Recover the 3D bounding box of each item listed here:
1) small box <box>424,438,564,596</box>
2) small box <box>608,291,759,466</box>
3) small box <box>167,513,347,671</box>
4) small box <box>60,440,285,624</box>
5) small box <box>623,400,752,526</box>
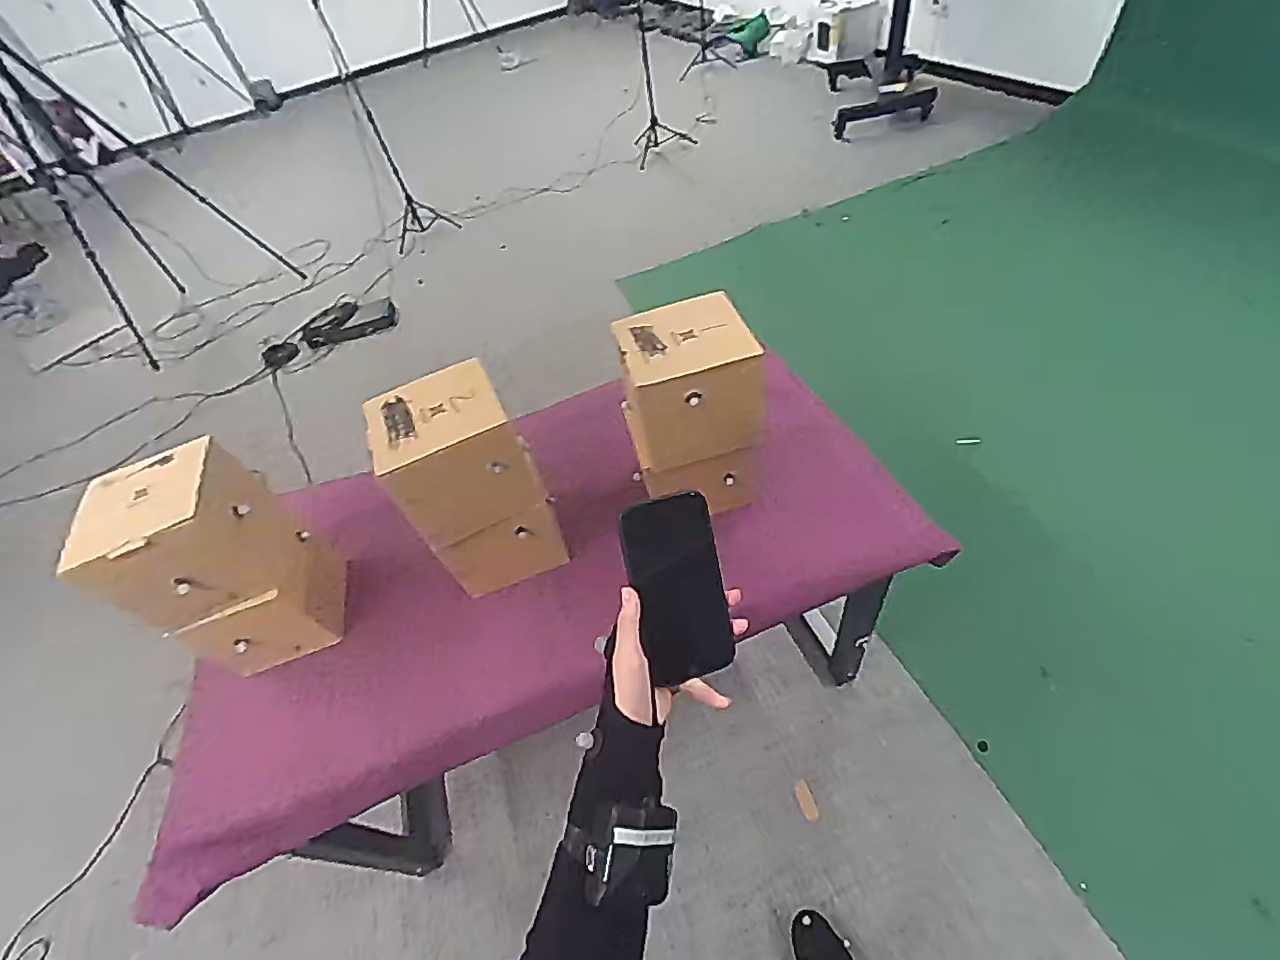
[{"bbox_3d":[-0.238,0.064,0.907,0.179,0.176,0.168,-21,49,-5],"label":"small box"},{"bbox_3d":[0.067,-0.145,0.798,0.179,0.176,0.168,-16,48,-2],"label":"small box"},{"bbox_3d":[-0.607,0.191,0.886,0.168,0.176,0.179,-21,49,-5],"label":"small box"},{"bbox_3d":[-0.639,0.081,0.769,0.168,0.176,0.179,-24,50,-9],"label":"small box"},{"bbox_3d":[0.083,-0.047,0.929,0.179,0.176,0.168,-17,48,0],"label":"small box"}]
